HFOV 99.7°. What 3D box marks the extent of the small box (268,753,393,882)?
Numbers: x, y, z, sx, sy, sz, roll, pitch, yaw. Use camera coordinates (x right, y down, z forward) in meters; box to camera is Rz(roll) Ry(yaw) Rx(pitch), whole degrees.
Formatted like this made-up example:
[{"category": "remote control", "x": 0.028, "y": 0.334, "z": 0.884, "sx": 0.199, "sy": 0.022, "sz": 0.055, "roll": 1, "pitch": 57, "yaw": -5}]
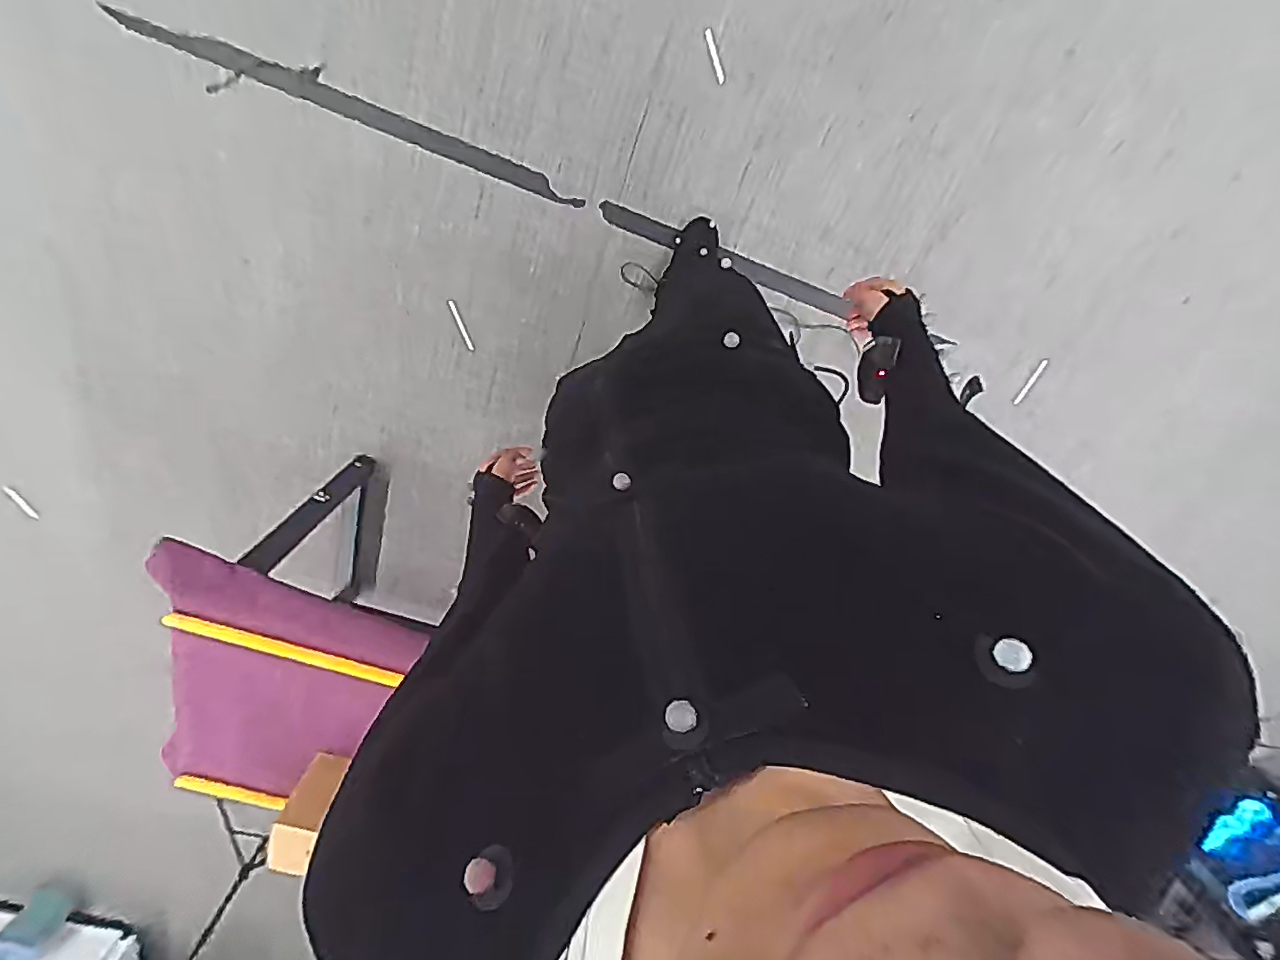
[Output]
[{"category": "small box", "x": -0.683, "y": 0.744, "z": 1.206, "sx": 0.179, "sy": 0.176, "sz": 0.168, "roll": 19, "pitch": 114, "yaw": -8}]
